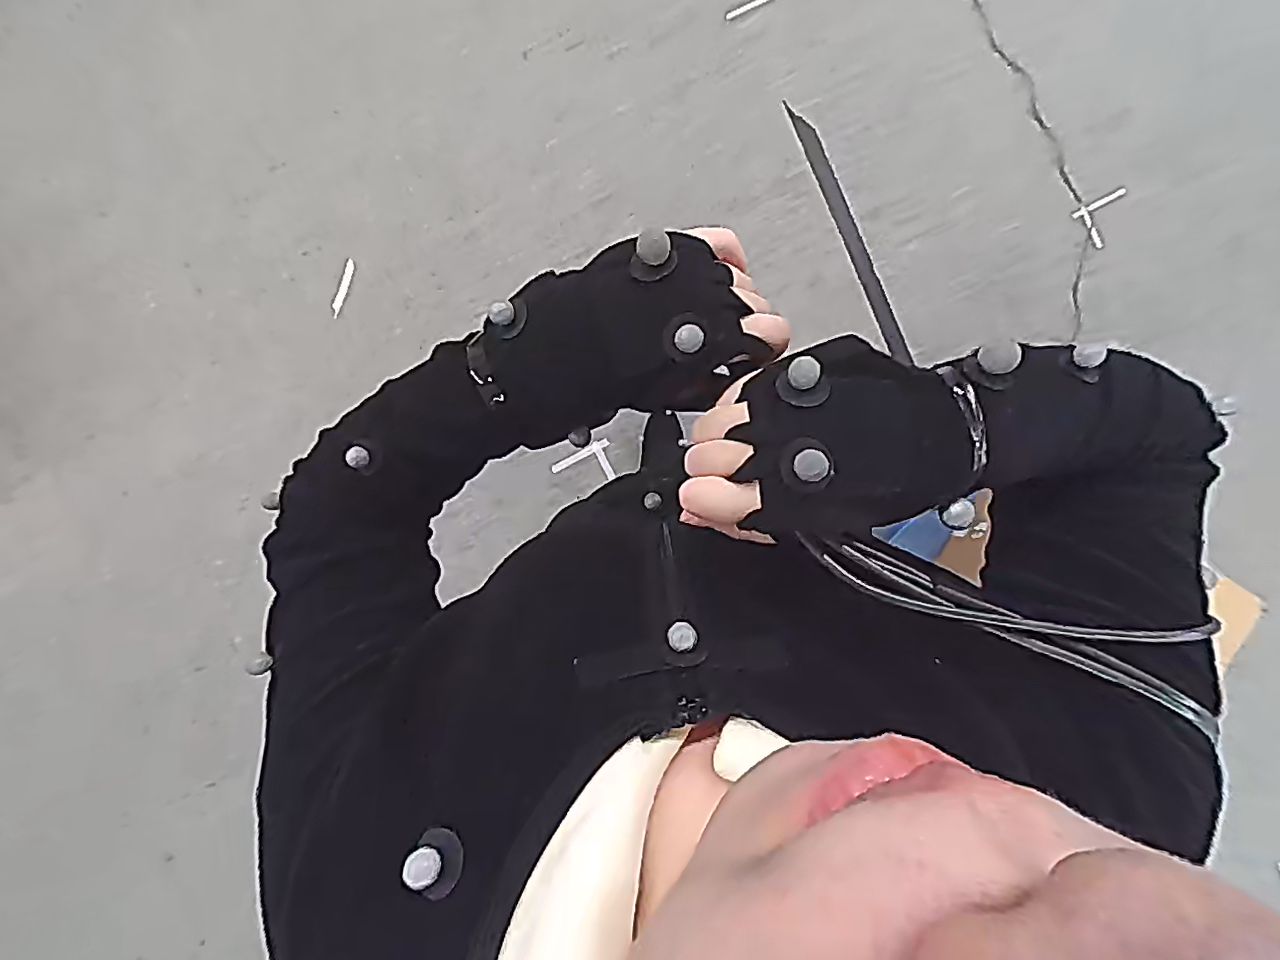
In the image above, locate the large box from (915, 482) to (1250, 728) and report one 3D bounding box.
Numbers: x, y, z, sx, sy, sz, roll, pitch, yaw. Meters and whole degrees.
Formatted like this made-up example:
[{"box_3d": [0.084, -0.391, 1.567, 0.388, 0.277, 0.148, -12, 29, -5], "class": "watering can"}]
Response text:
[{"box_3d": [0.910, 0.238, 1.172, 0.408, 0.320, 0.320, 33, 93, -2], "class": "large box"}]
